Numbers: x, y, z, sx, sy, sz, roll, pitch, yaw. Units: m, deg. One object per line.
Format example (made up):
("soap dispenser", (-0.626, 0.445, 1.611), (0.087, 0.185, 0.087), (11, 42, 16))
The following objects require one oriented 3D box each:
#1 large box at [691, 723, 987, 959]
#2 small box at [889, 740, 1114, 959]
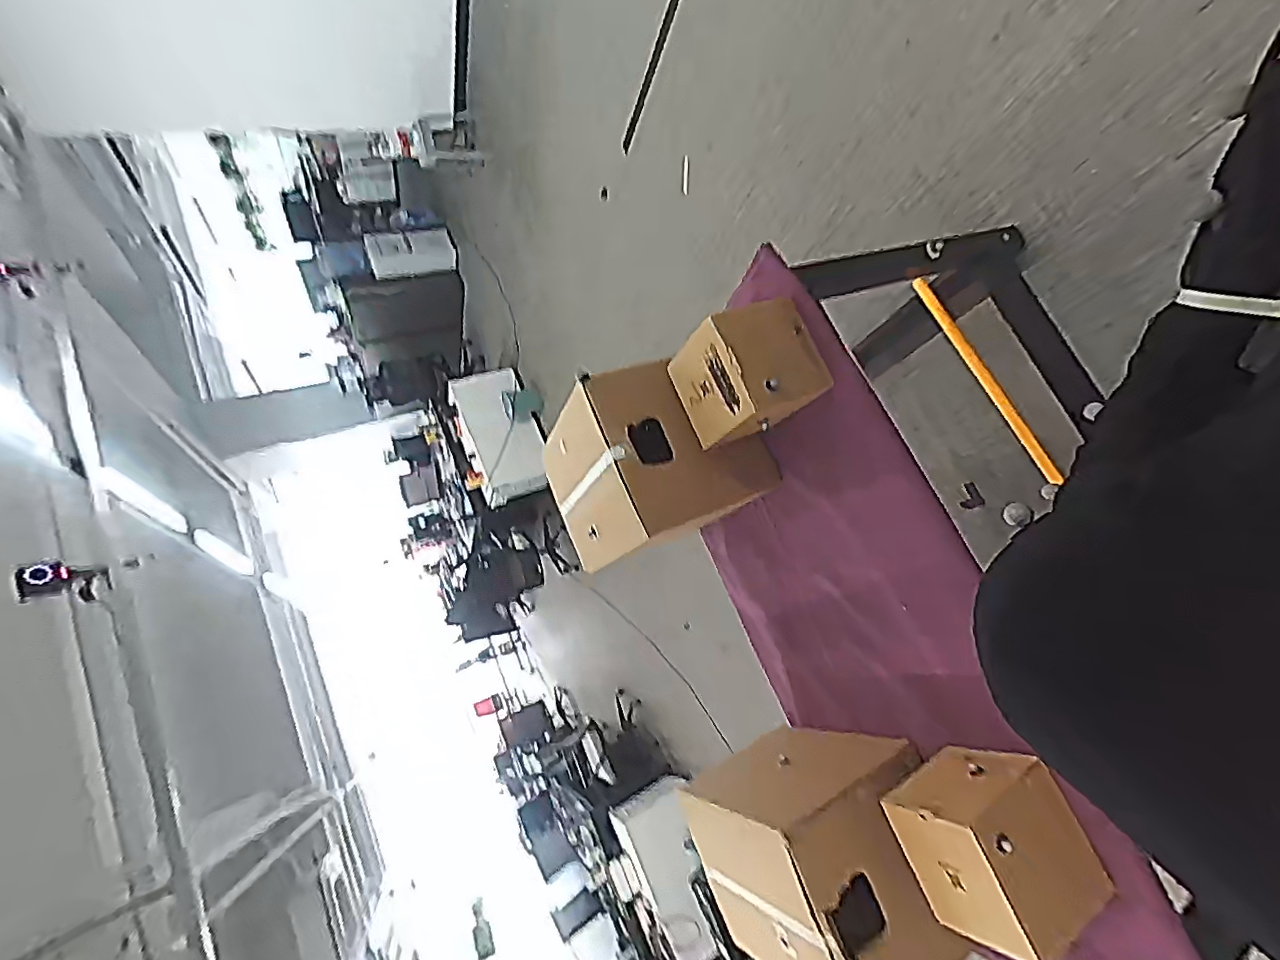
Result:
("large box", (0.360, 0.686, 1.036), (0.320, 0.320, 0.408), (66, 153, 12))
("small box", (0.507, 0.502, 0.768), (0.179, 0.176, 0.168), (65, 156, 13))
